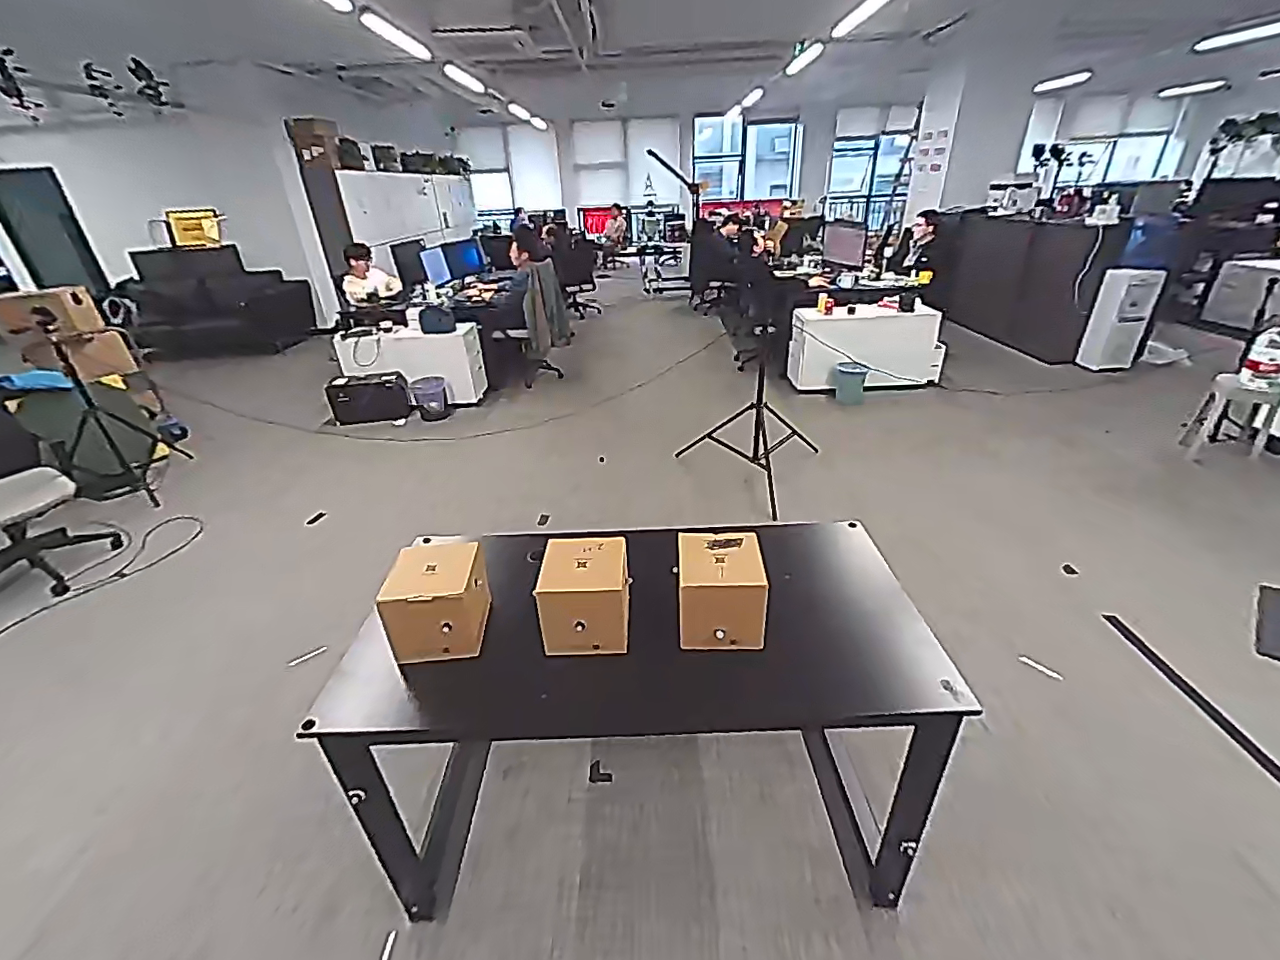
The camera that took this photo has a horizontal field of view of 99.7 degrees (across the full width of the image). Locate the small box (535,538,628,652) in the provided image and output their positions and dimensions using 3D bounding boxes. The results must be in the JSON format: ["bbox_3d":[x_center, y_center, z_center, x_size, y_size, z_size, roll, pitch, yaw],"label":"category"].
[{"bbox_3d":[-0.112,0.239,1.124,0.168,0.176,0.179,-2,28,2],"label":"small box"}]

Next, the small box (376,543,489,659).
[{"bbox_3d":[-0.420,0.255,1.128,0.168,0.176,0.179,-4,28,-4],"label":"small box"}]

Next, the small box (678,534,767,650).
[{"bbox_3d":[0.162,0.228,1.121,0.168,0.176,0.179,-1,29,4],"label":"small box"}]
